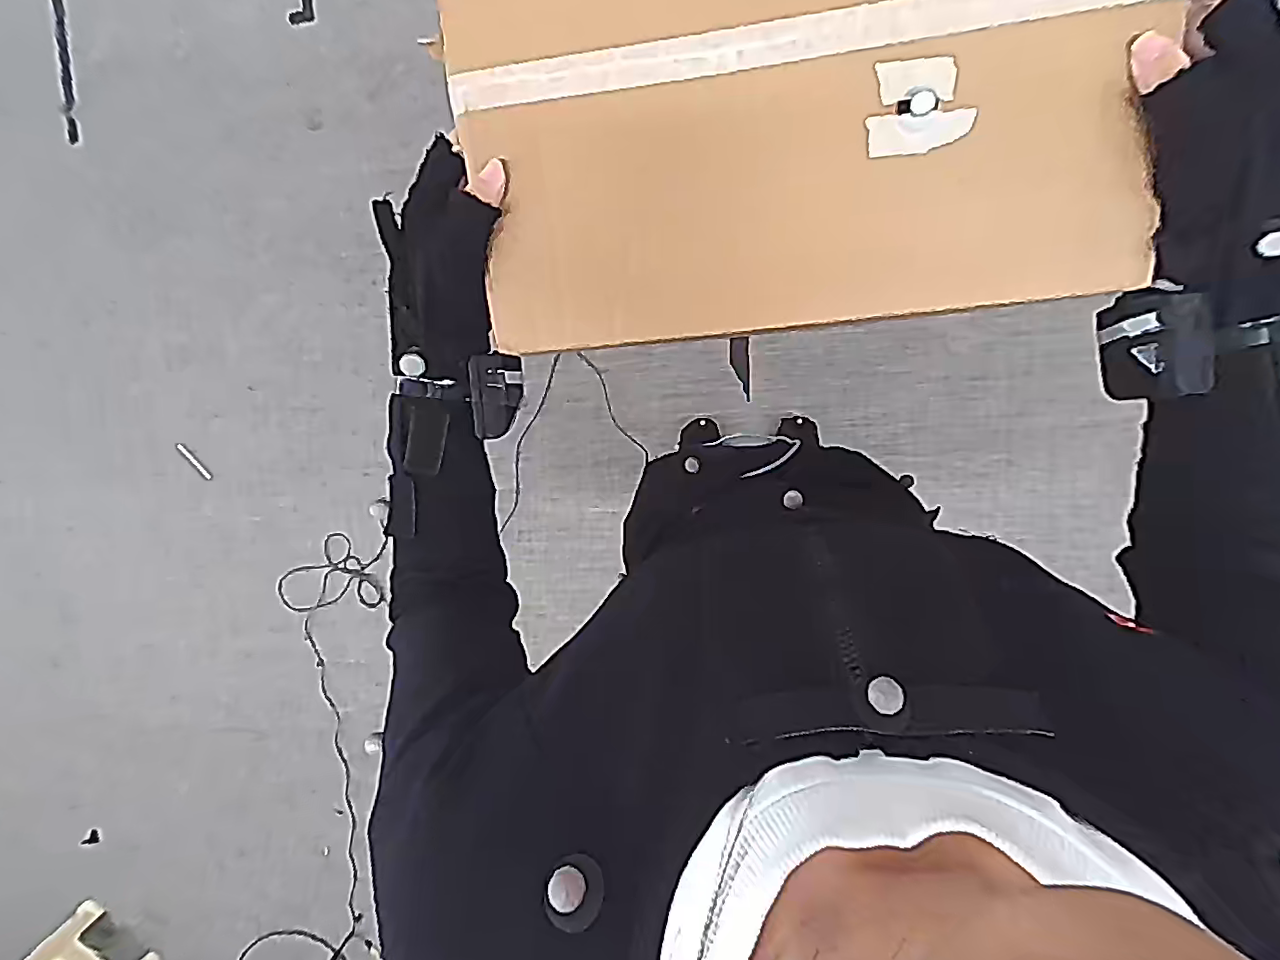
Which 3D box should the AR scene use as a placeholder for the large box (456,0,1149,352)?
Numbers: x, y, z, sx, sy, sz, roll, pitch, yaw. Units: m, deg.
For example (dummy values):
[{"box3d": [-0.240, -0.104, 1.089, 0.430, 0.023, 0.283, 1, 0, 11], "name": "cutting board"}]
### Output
[{"box3d": [0.099, -0.293, 0.468, 0.408, 0.320, 0.320, -5, 104, 6], "name": "large box"}]
